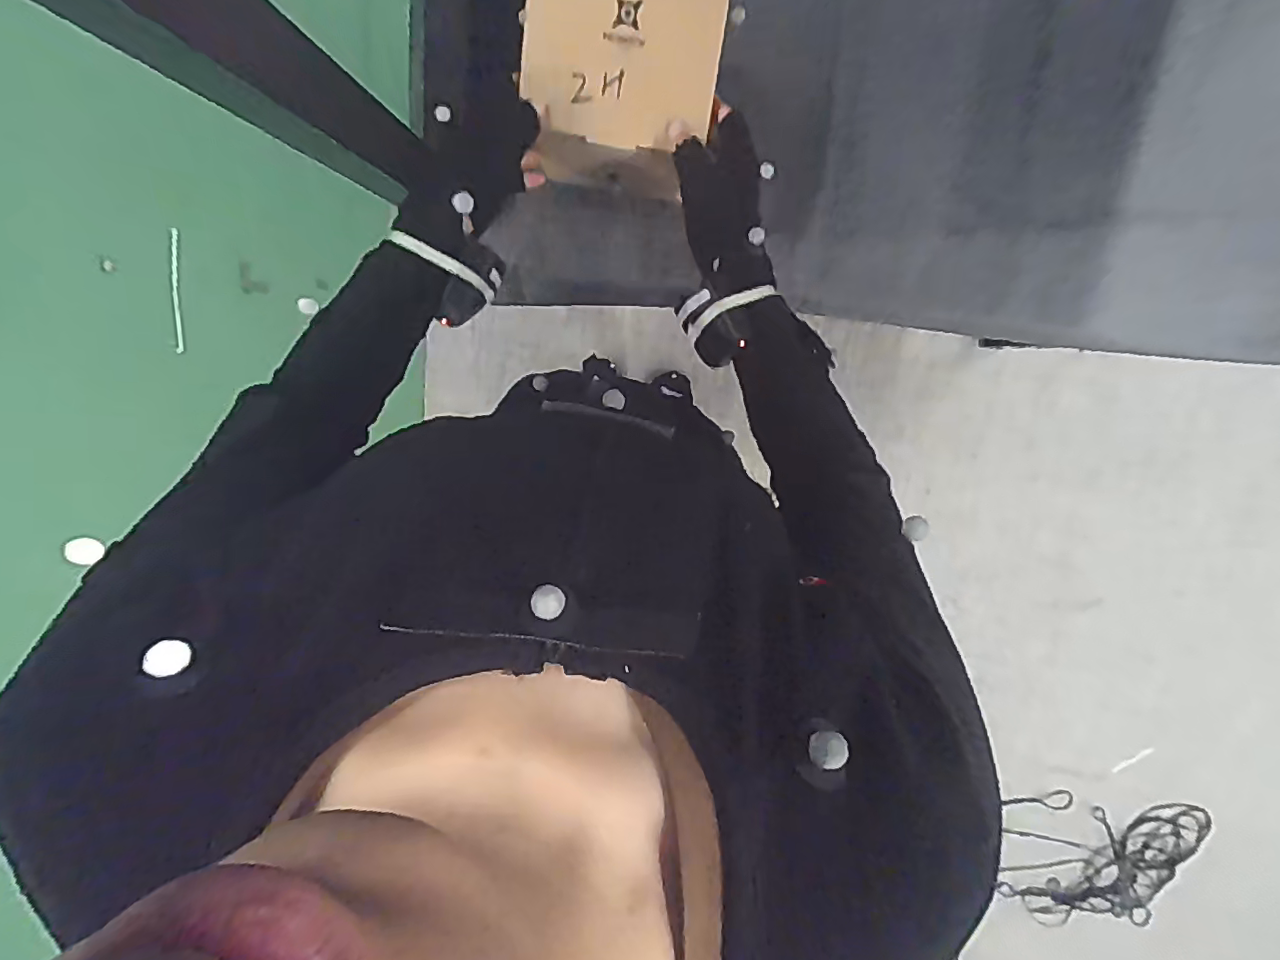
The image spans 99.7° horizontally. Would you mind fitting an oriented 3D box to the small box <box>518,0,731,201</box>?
[{"bbox_3d":[-0.012,-0.398,0.527,0.168,0.176,0.179,9,105,-2],"label":"small box"}]
